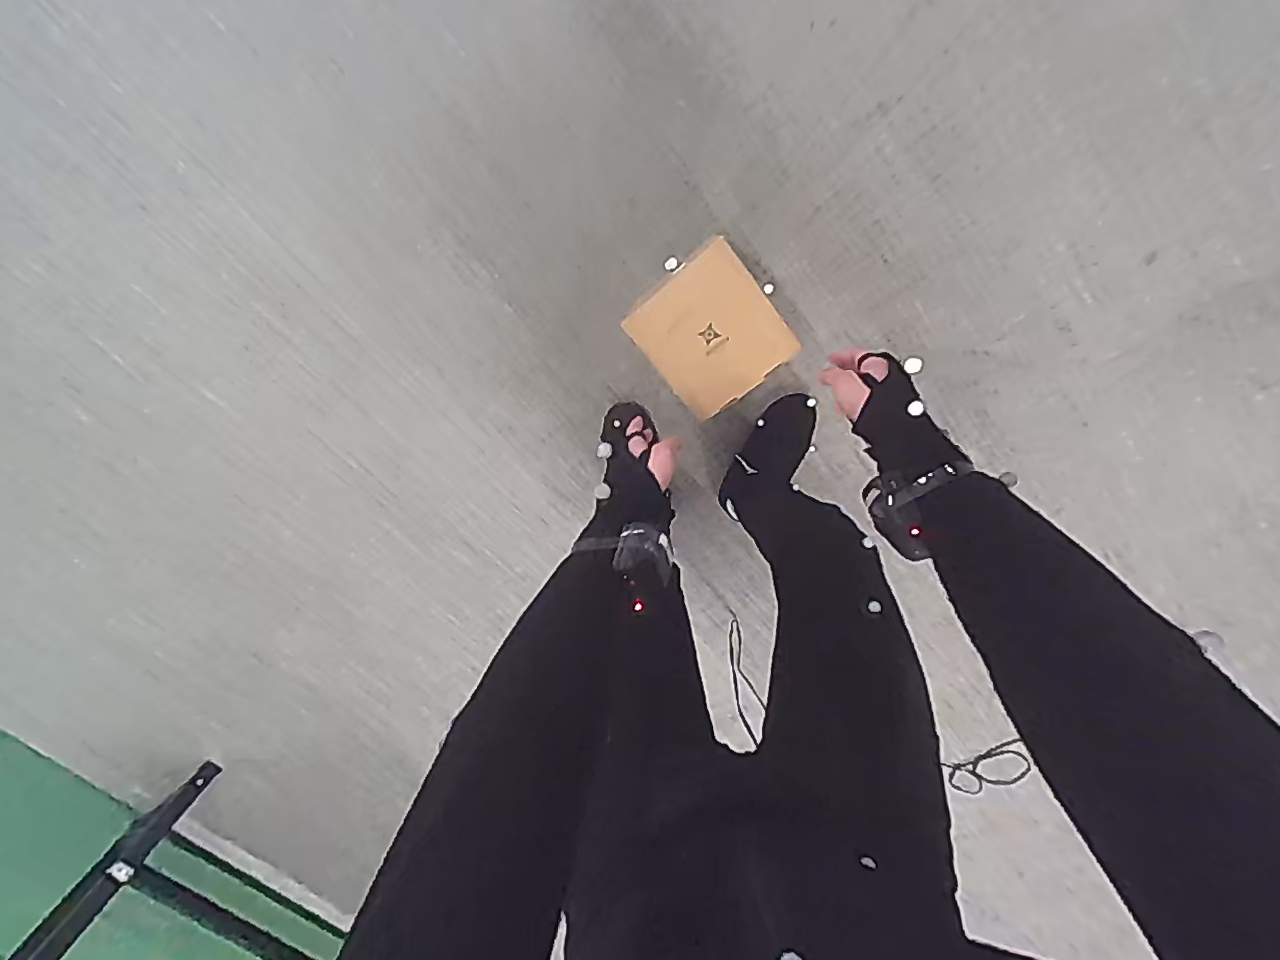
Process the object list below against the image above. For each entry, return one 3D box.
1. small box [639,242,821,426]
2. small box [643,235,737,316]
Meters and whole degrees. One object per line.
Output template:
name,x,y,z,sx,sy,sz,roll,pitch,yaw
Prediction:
small box,0.121,-0.210,0.754,0.168,0.176,0.179,-36,106,19
small box,0.130,-0.287,0.917,0.179,0.176,0.168,-37,105,19
